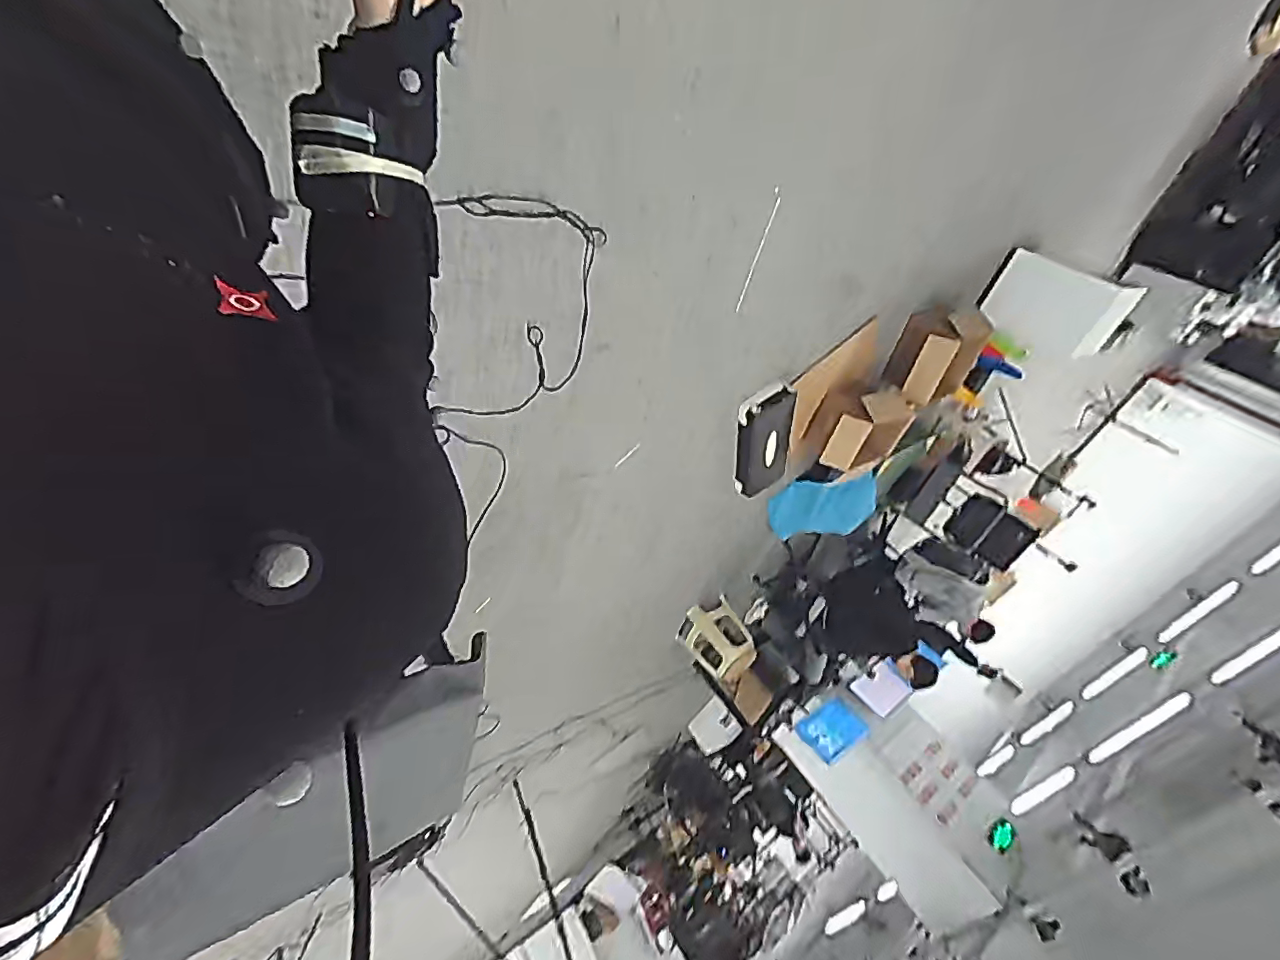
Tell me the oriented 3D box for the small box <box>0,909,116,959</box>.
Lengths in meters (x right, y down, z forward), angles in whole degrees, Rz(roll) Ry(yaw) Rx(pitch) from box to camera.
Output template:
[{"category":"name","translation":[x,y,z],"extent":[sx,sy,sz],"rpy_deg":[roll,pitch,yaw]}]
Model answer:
[{"category":"small box","translation":[-0.966,0.839,0.864],"extent":[0.168,0.176,0.179],"rpy_deg":[-9,135,-39]}]
